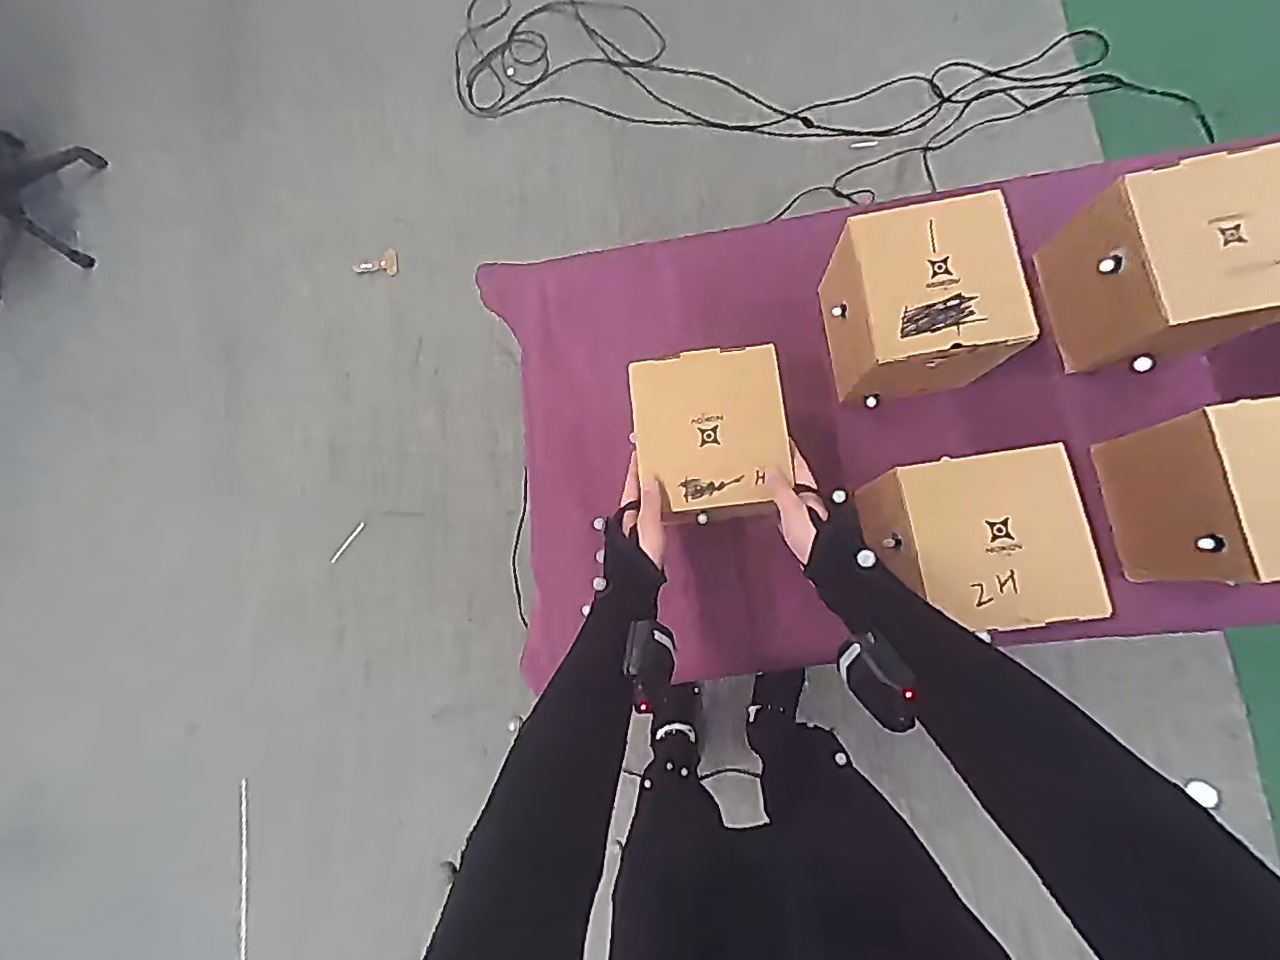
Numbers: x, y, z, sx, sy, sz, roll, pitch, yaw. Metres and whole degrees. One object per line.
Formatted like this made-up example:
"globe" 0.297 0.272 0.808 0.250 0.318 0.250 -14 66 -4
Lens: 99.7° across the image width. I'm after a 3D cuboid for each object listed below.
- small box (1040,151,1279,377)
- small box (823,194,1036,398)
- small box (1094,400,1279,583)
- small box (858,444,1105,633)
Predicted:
"small box" 0.618 -0.240 0.639 0.168 0.176 0.179 -8 82 6
"small box" 0.336 -0.208 0.666 0.168 0.176 0.179 -8 80 5
"small box" 0.657 0.018 0.596 0.168 0.176 0.179 -8 80 5
"small box" 0.366 0.071 0.619 0.168 0.176 0.179 -8 80 6
